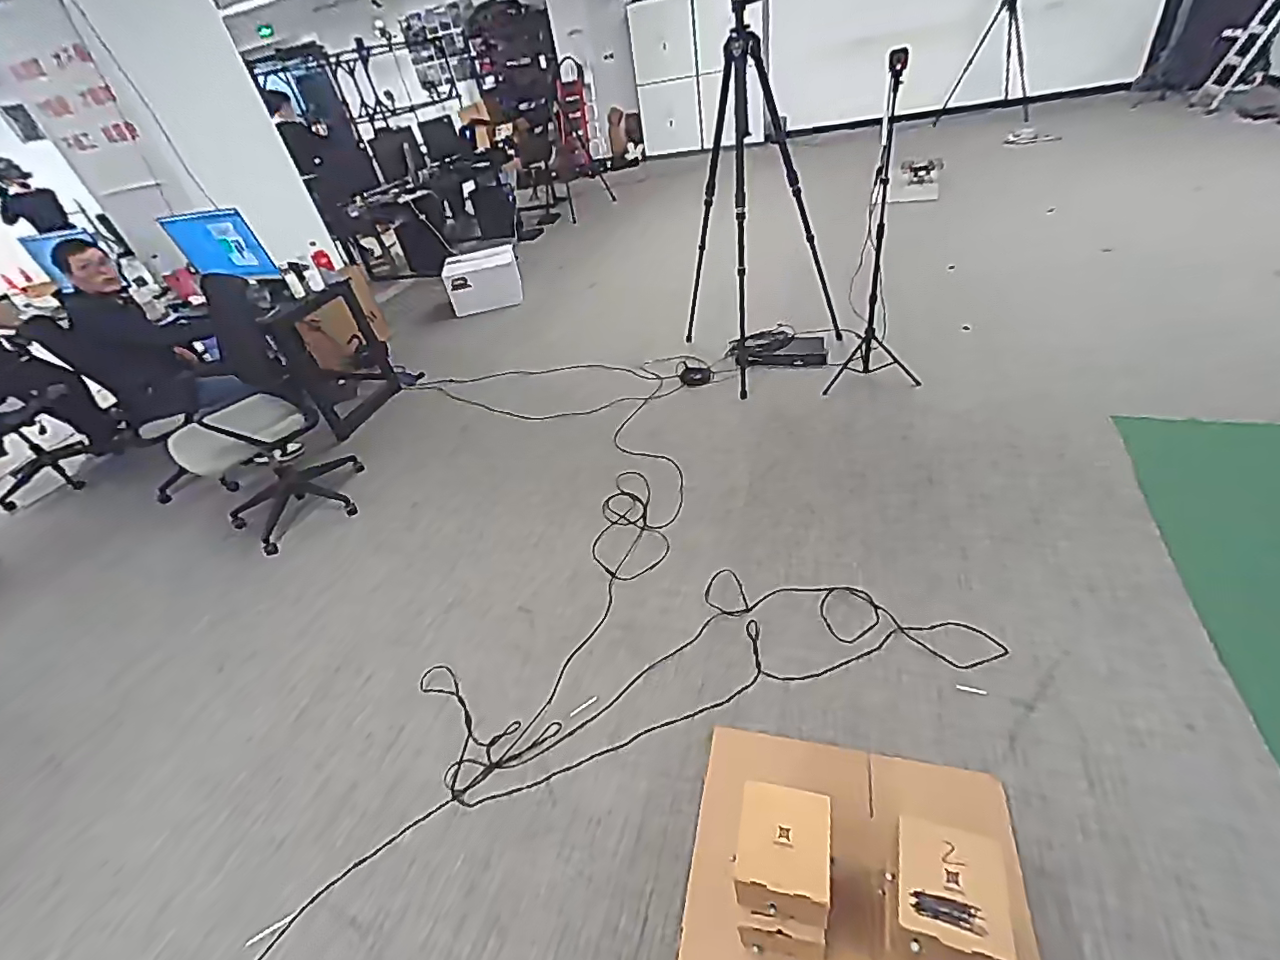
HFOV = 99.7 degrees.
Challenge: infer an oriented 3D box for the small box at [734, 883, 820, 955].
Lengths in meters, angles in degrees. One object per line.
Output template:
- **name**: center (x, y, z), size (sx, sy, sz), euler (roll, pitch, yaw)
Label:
- **small box**: center (0.294, 0.863, 1.141), size (0.168, 0.176, 0.179), euler (1, 41, 16)

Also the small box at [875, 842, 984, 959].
- **small box**: center (0.563, 0.866, 1.069), size (0.168, 0.176, 0.179), euler (5, 43, 22)

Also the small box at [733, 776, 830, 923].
- **small box**: center (0.278, 0.721, 1.058), size (0.168, 0.176, 0.179), euler (3, 41, 18)
